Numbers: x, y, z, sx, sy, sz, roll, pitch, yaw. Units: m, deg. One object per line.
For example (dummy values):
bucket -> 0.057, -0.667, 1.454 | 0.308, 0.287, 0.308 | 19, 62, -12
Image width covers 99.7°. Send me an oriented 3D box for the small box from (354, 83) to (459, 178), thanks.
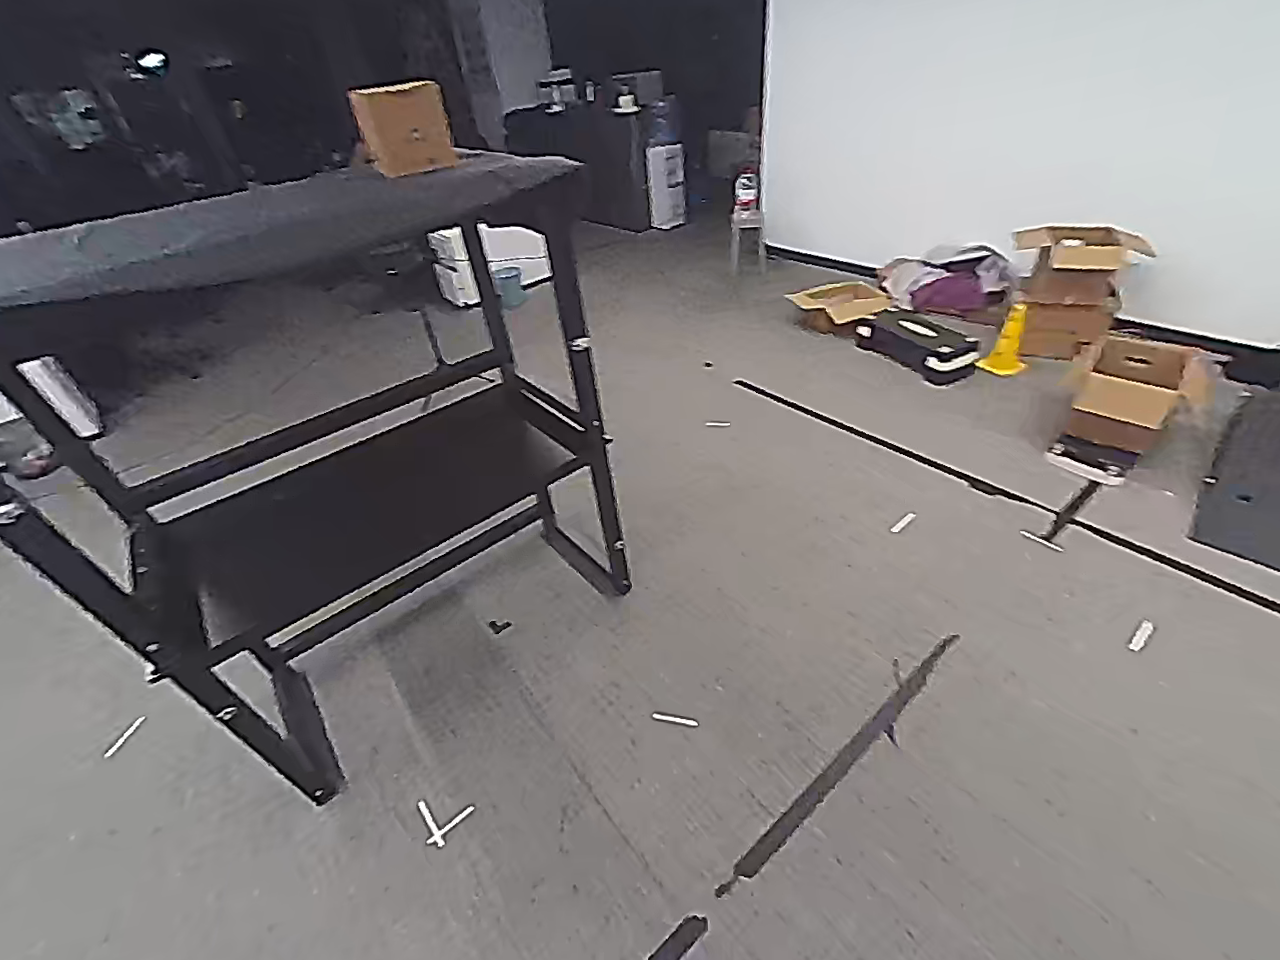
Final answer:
small box -> -0.561, -0.848, 1.314 | 0.168, 0.176, 0.179 | -26, 44, -22
